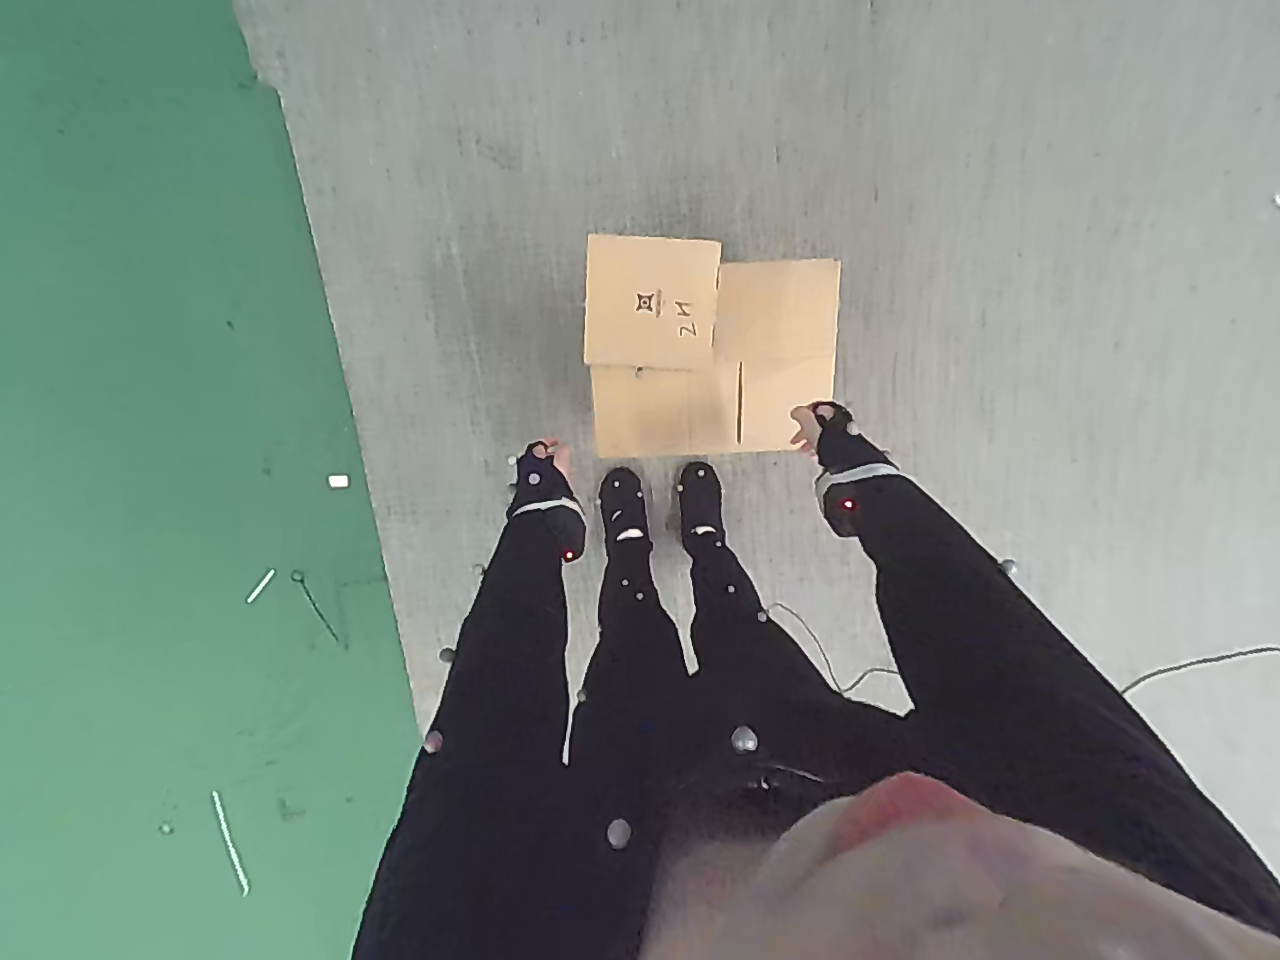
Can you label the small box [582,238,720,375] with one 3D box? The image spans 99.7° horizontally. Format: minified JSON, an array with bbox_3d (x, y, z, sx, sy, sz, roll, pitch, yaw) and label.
[{"bbox_3d":[0.013,-0.242,0.791,0.179,0.176,0.168,3,101,-1],"label":"small box"}]
